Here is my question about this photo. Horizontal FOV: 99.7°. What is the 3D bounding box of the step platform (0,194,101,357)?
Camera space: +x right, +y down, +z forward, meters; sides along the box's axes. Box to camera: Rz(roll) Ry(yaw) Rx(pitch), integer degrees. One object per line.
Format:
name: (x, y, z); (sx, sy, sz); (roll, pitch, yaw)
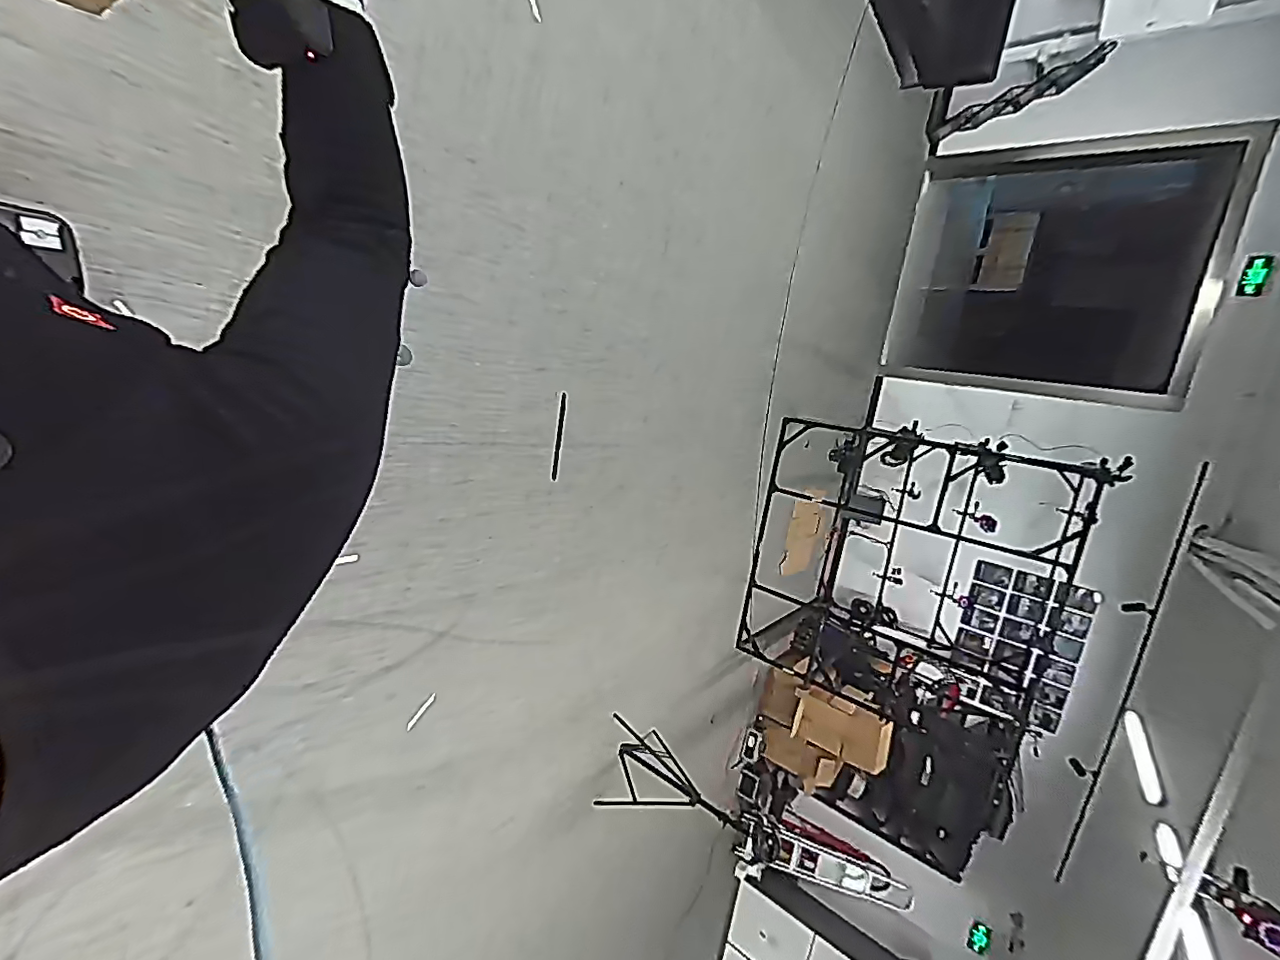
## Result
step platform: (-1.322, -0.371, 0.843); (0.684, 0.204, 0.286); (-7, 110, -54)
